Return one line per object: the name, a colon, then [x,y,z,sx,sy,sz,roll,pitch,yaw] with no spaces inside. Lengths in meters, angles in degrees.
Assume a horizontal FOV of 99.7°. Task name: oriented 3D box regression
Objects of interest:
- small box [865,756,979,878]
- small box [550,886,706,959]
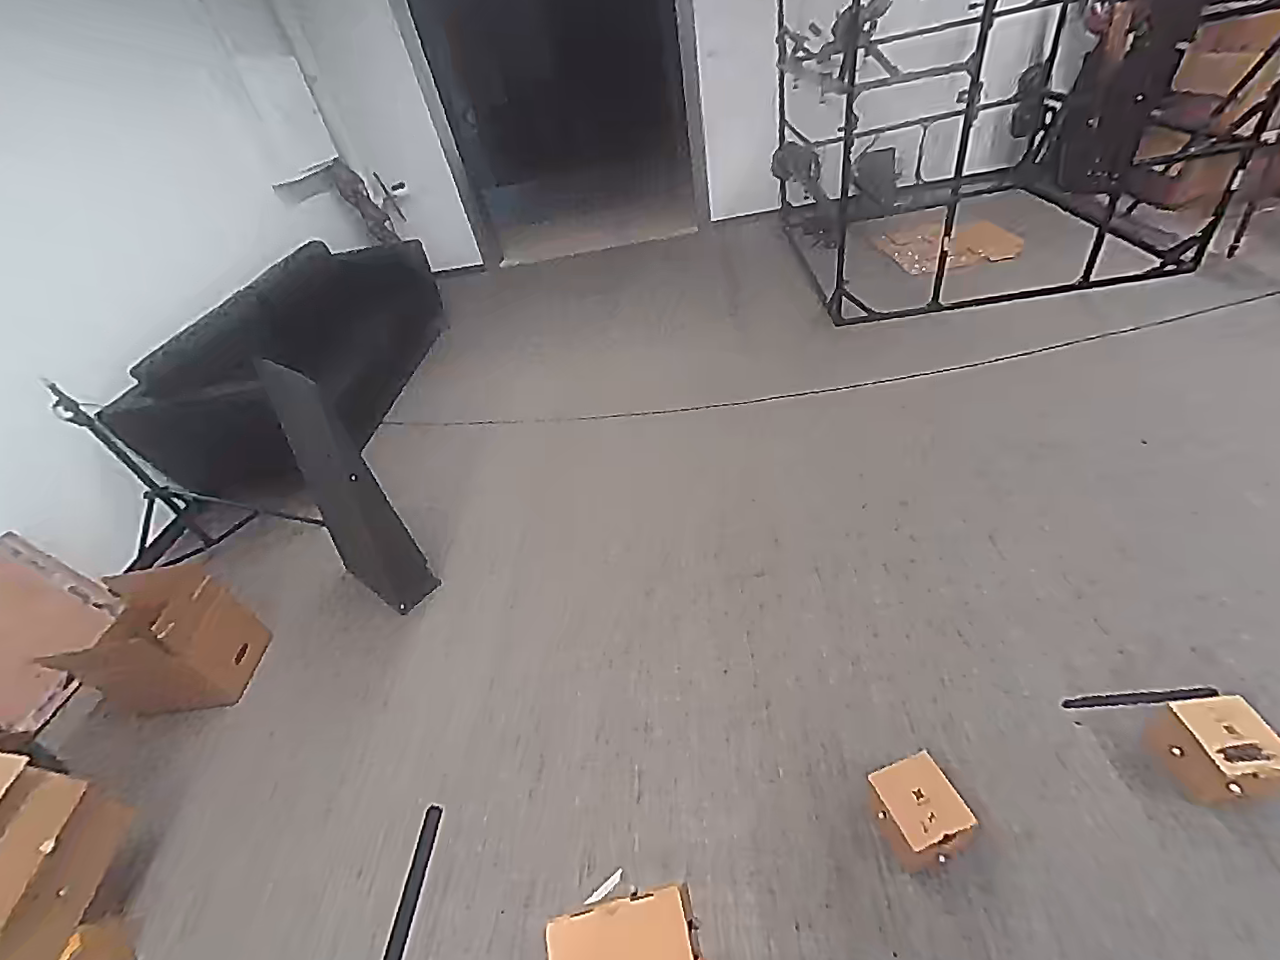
small box: [0.669,0.814,1.307,0.168,0.176,0.179,-19,39,-7]
small box: [-0.001,0.614,0.649,0.168,0.176,0.179,-13,54,-1]
